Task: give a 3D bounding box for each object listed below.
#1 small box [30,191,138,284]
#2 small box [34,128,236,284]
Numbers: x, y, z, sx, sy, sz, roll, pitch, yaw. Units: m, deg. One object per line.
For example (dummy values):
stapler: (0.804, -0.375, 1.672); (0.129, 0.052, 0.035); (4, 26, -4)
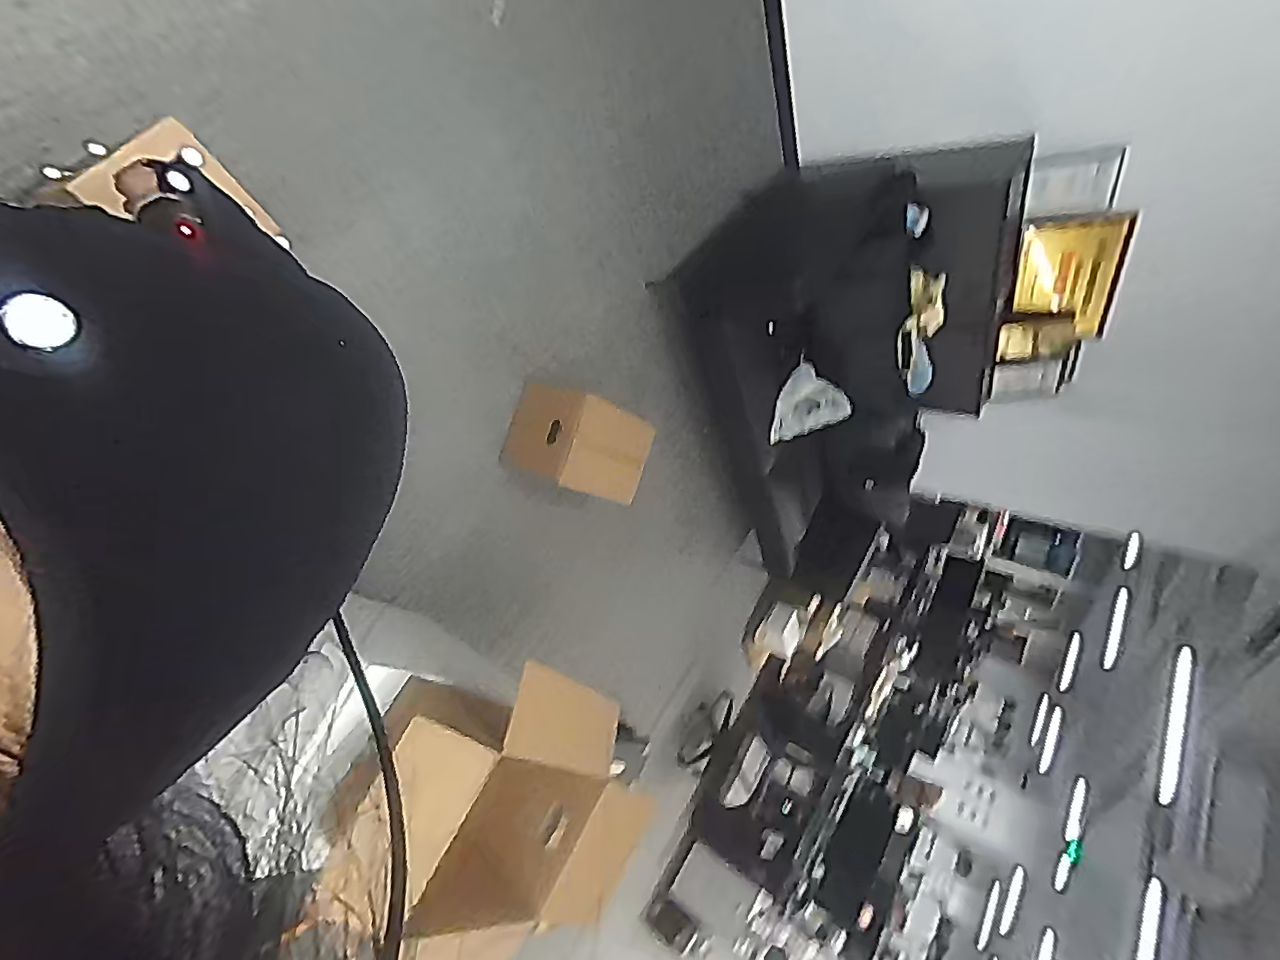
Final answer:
small box: (-0.959, -0.483, 1.001); (0.179, 0.176, 0.168); (-52, 140, -25)
small box: (-0.838, -0.448, 0.898); (0.179, 0.176, 0.168); (-55, 142, -24)
